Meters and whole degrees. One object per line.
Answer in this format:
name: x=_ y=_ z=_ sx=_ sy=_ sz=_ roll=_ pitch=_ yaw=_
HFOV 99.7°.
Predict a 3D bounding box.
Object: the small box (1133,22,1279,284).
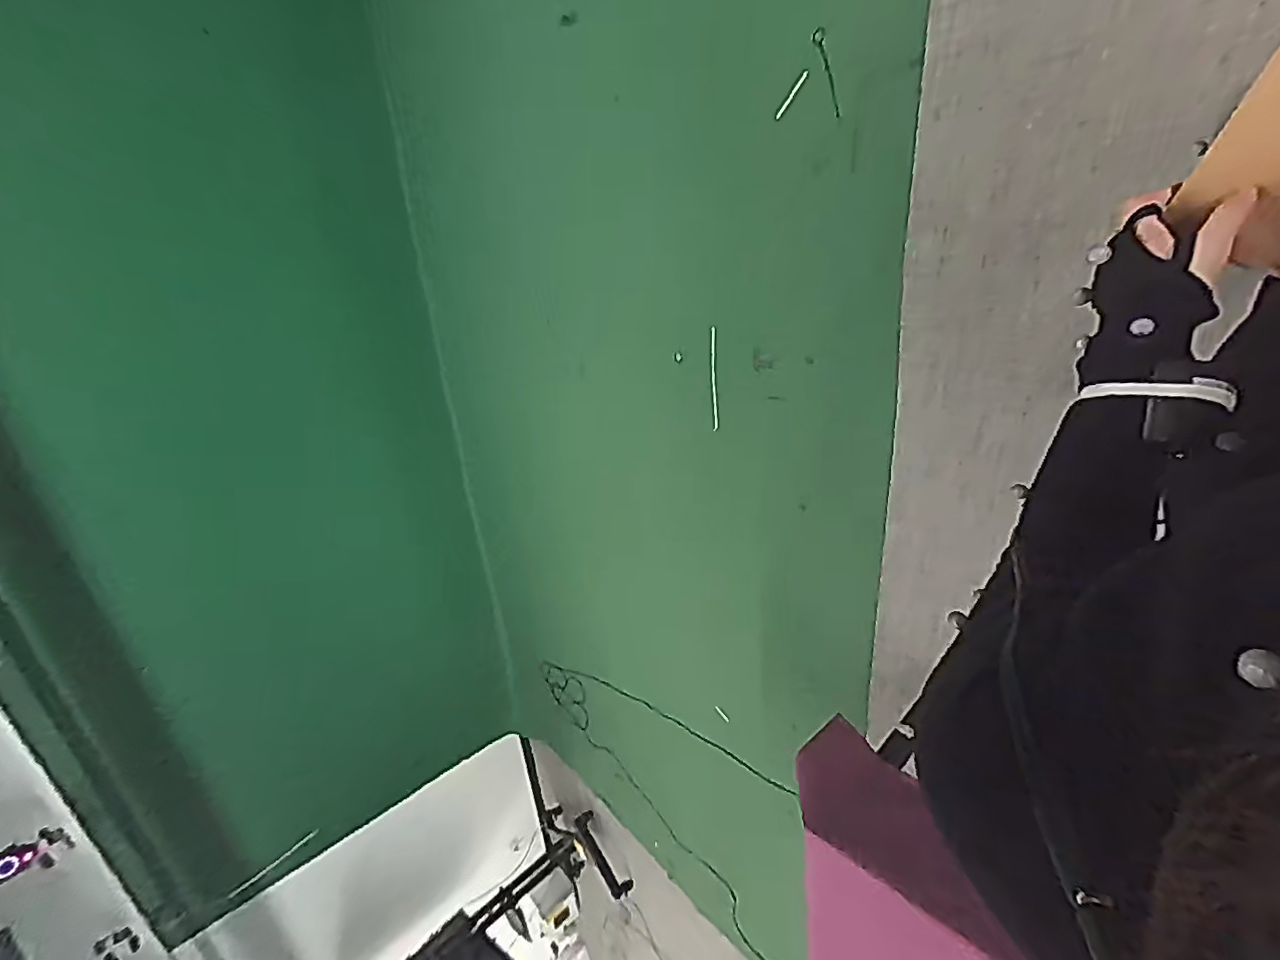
small box: x=0.532 y=-0.264 z=0.391 sx=0.168 sy=0.176 sz=0.179 roll=38 pitch=154 yaw=27
